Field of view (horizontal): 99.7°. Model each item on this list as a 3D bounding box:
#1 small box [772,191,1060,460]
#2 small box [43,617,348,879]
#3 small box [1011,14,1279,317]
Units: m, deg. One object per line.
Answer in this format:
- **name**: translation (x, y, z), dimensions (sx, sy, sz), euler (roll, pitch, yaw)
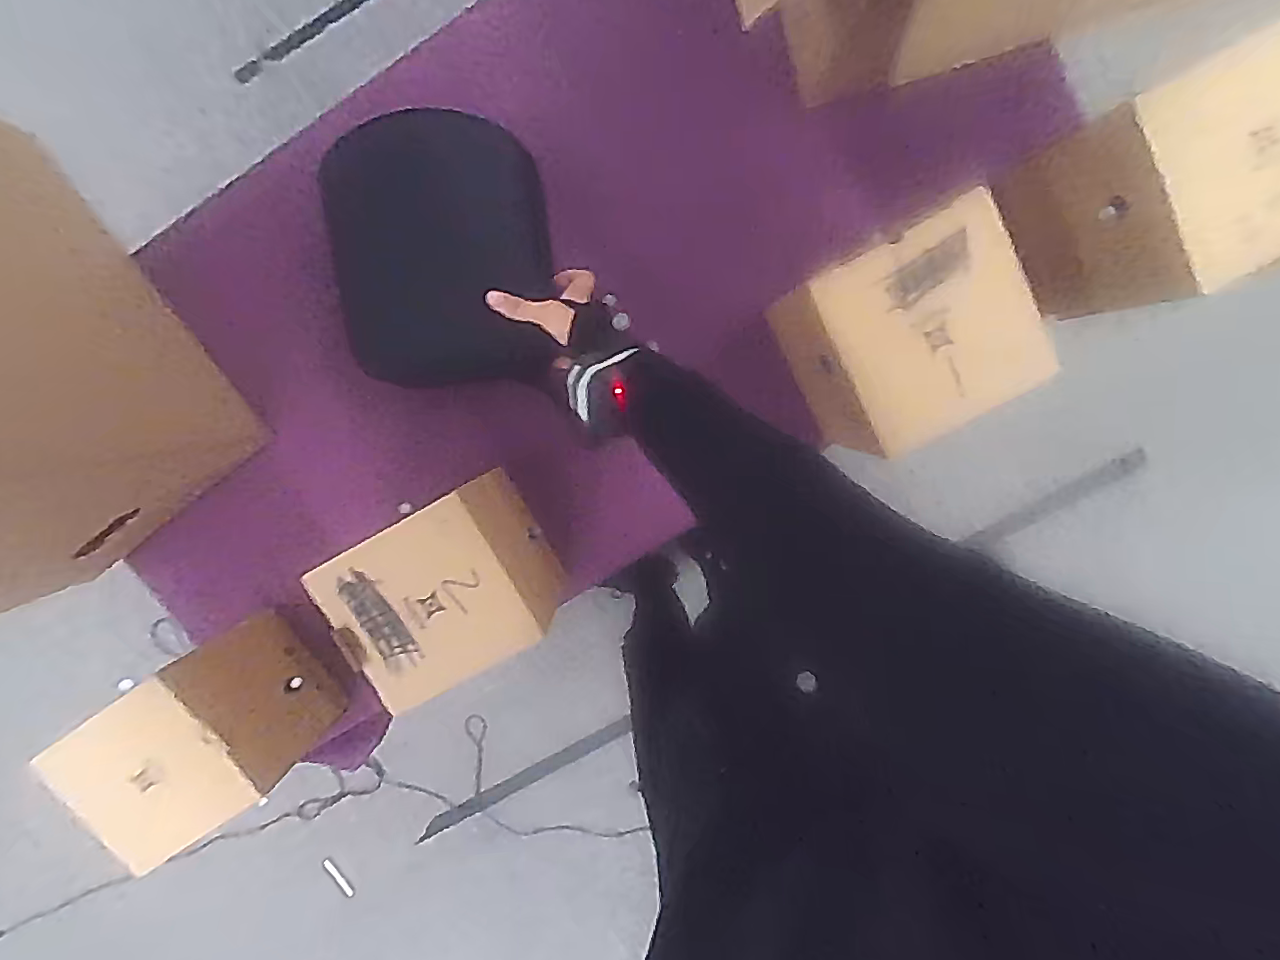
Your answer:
- **small box**: translation (0.253, -0.140, 0.540), dimensions (0.168, 0.176, 0.179), euler (-28, 99, 6)
- **small box**: translation (-0.490, 0.294, 0.628), dimensions (0.179, 0.176, 0.168), euler (-34, 97, 5)
- **small box**: translation (0.501, -0.276, 0.510), dimensions (0.168, 0.176, 0.179), euler (-28, 98, 6)
